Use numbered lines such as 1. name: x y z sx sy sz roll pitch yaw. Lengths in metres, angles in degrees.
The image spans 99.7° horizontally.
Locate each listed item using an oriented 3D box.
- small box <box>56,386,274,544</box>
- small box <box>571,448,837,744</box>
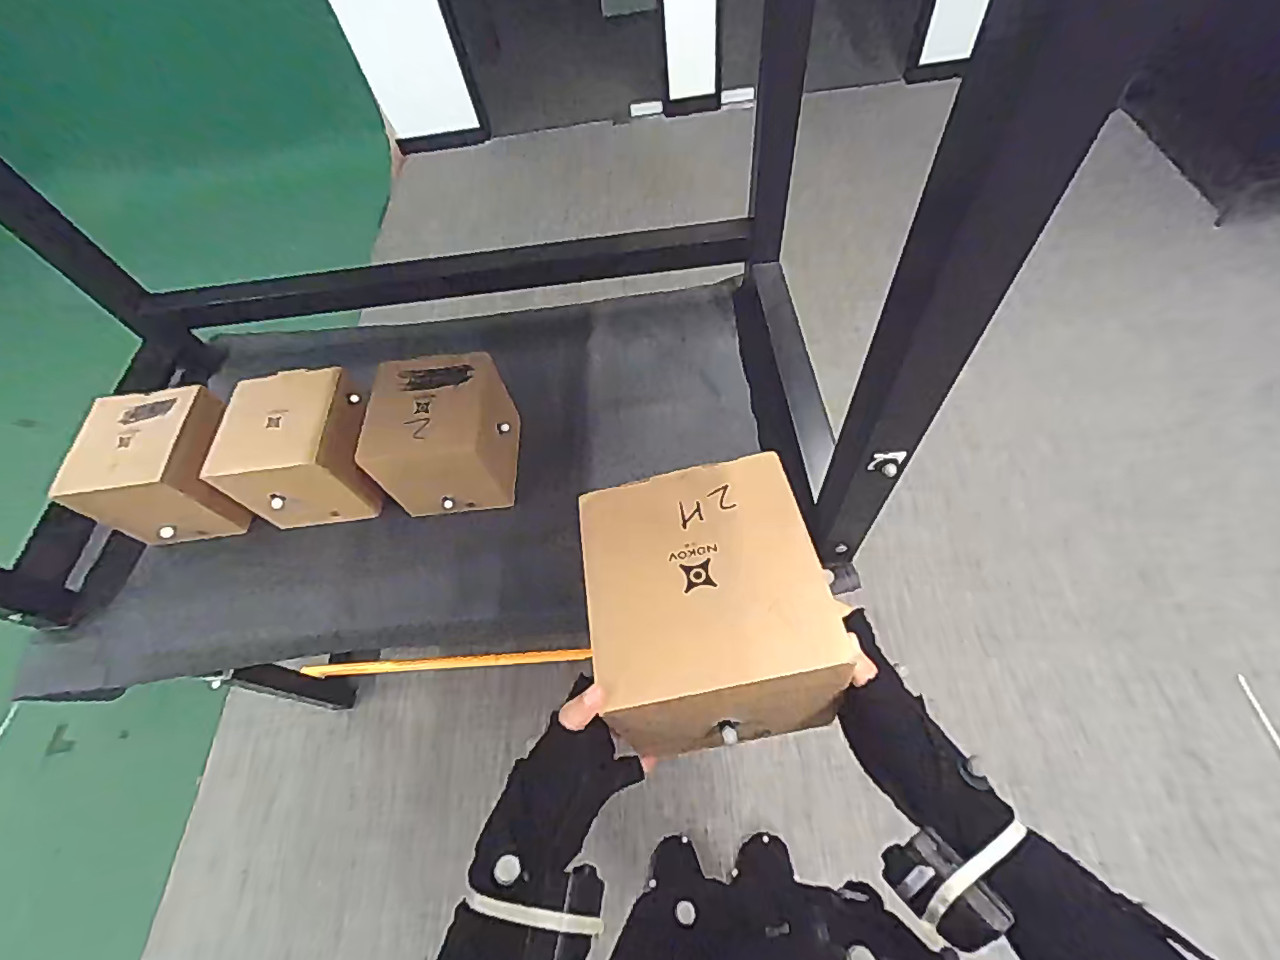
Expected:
1. small box: -0.722 -0.019 0.851 0.168 0.176 0.179 -8 59 3
2. small box: 0.049 0.105 0.448 0.168 0.176 0.179 -13 52 4
